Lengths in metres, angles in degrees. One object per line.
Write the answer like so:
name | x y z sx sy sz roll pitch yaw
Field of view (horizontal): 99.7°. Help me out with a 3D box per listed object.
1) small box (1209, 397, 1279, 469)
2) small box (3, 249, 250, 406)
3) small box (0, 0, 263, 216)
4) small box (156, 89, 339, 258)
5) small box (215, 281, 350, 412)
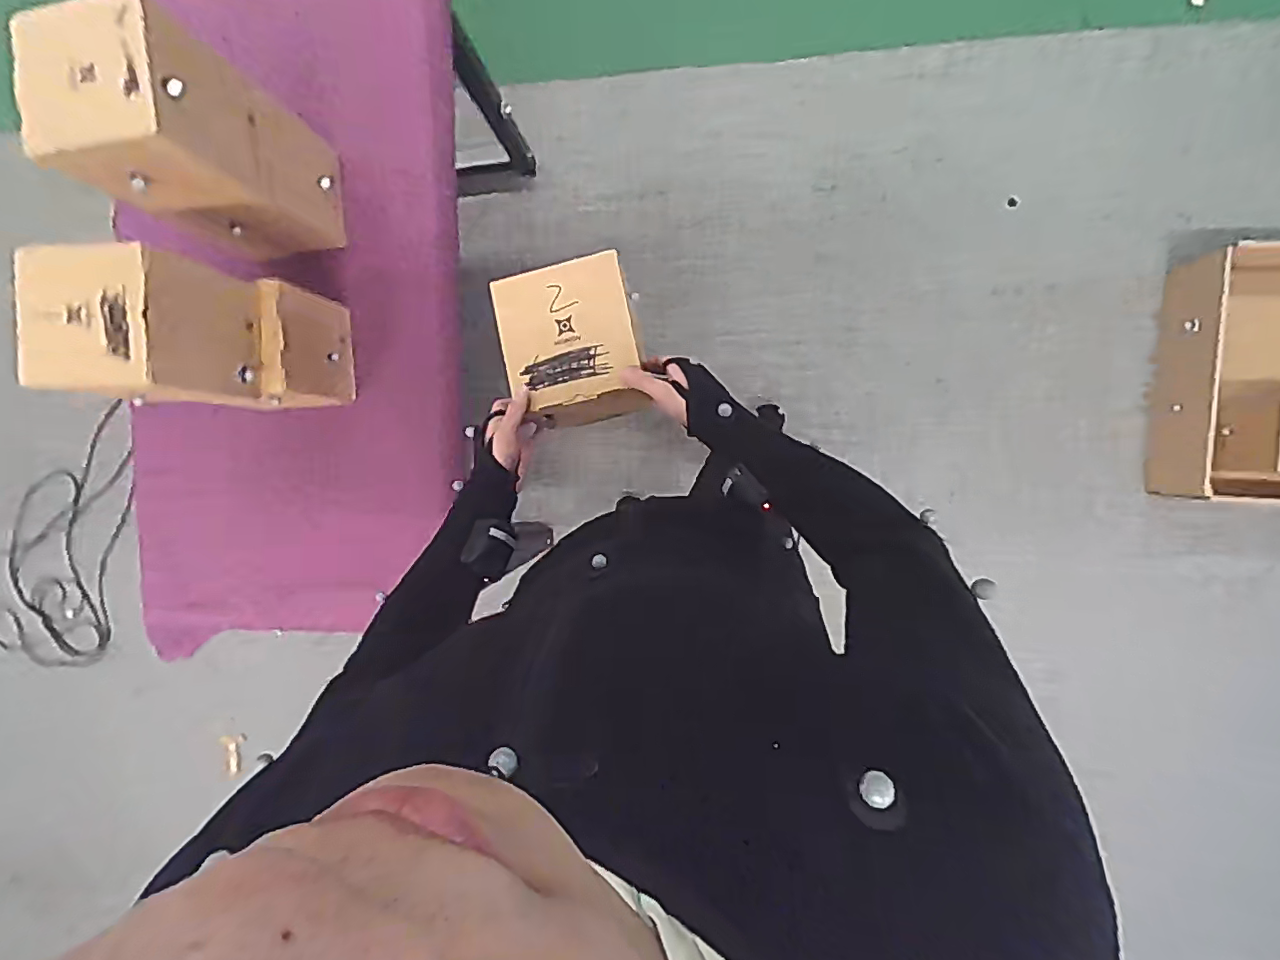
small box | 1.571 -0.113 1.322 0.179 0.176 0.168 3 92 6
small box | -0.649 -0.188 0.706 0.179 0.176 0.168 0 92 6
small box | -0.633 -0.461 0.691 0.179 0.176 0.168 -6 92 7
small box | -0.615 -0.467 0.854 0.179 0.176 0.168 -5 92 6
small box | -0.602 -0.202 0.866 0.179 0.176 0.168 -4 92 5
